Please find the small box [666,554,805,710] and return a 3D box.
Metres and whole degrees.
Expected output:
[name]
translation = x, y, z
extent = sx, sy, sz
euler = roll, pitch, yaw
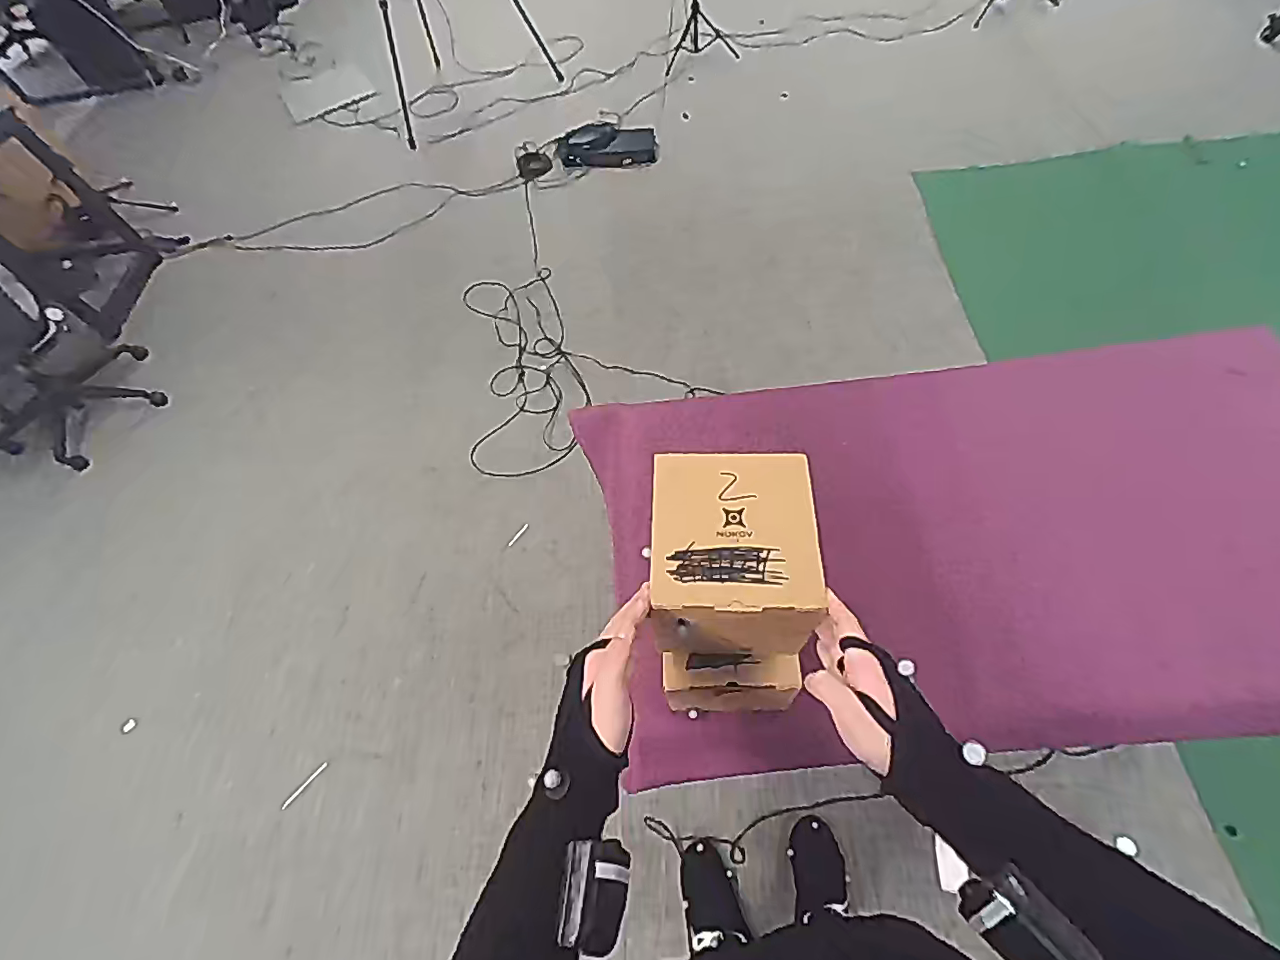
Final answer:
[small box]
translation = 0.124, 0.218, 0.750
extent = 0.168, 0.176, 0.179
euler = -3, 58, 5
